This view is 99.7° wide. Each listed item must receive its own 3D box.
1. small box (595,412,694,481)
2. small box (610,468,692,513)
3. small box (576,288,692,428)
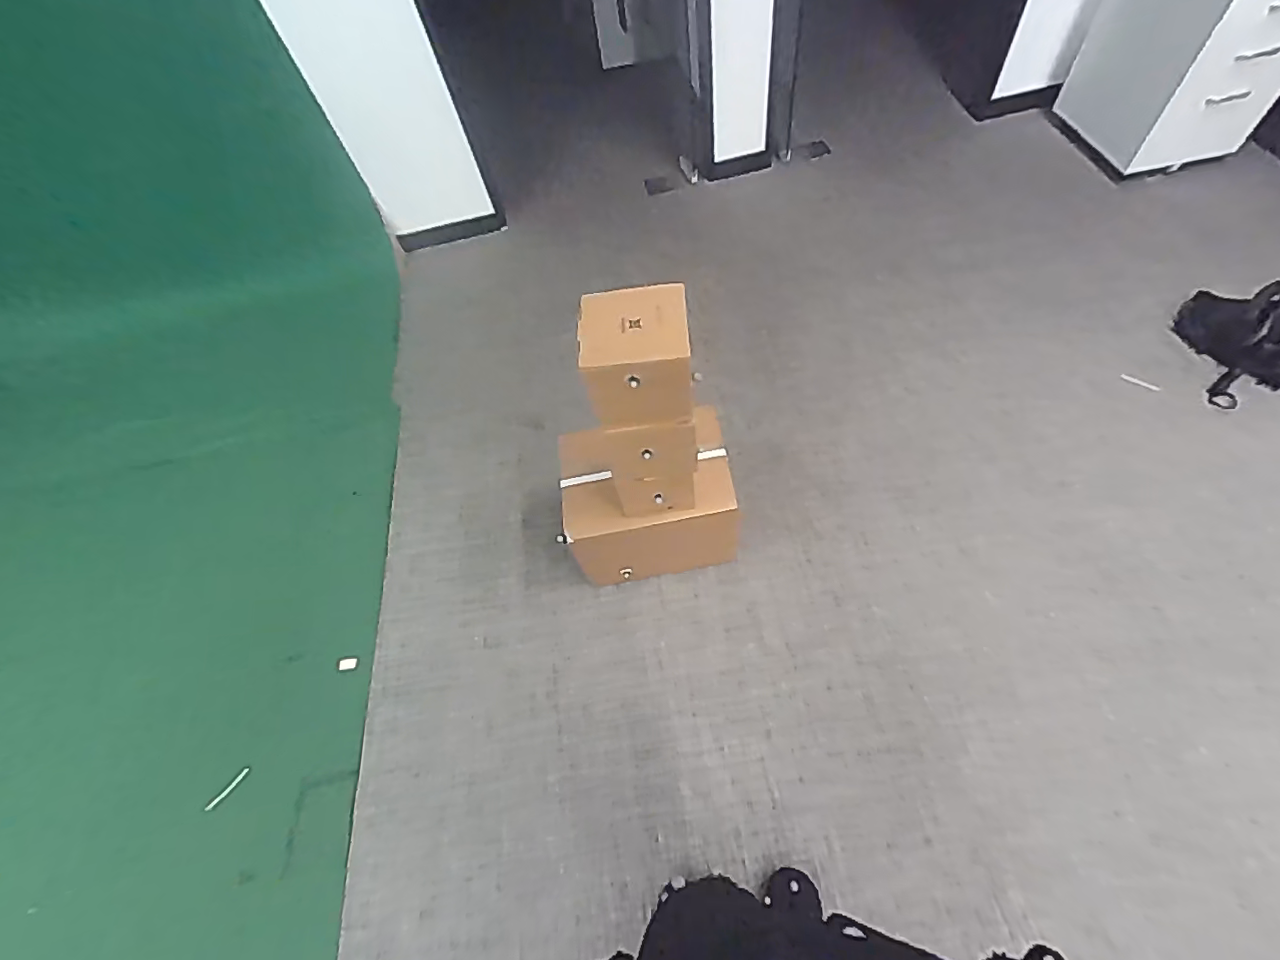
[{"bbox_3d":[0.013,-0.114,1.063,0.179,0.176,0.168,-6,59,5],"label":"small box"},{"bbox_3d":[0.023,-0.037,1.209,0.168,0.176,0.179,-9,60,3],"label":"small box"},{"bbox_3d":[-0.005,-0.202,0.929,0.179,0.176,0.168,-4,61,4],"label":"small box"}]
